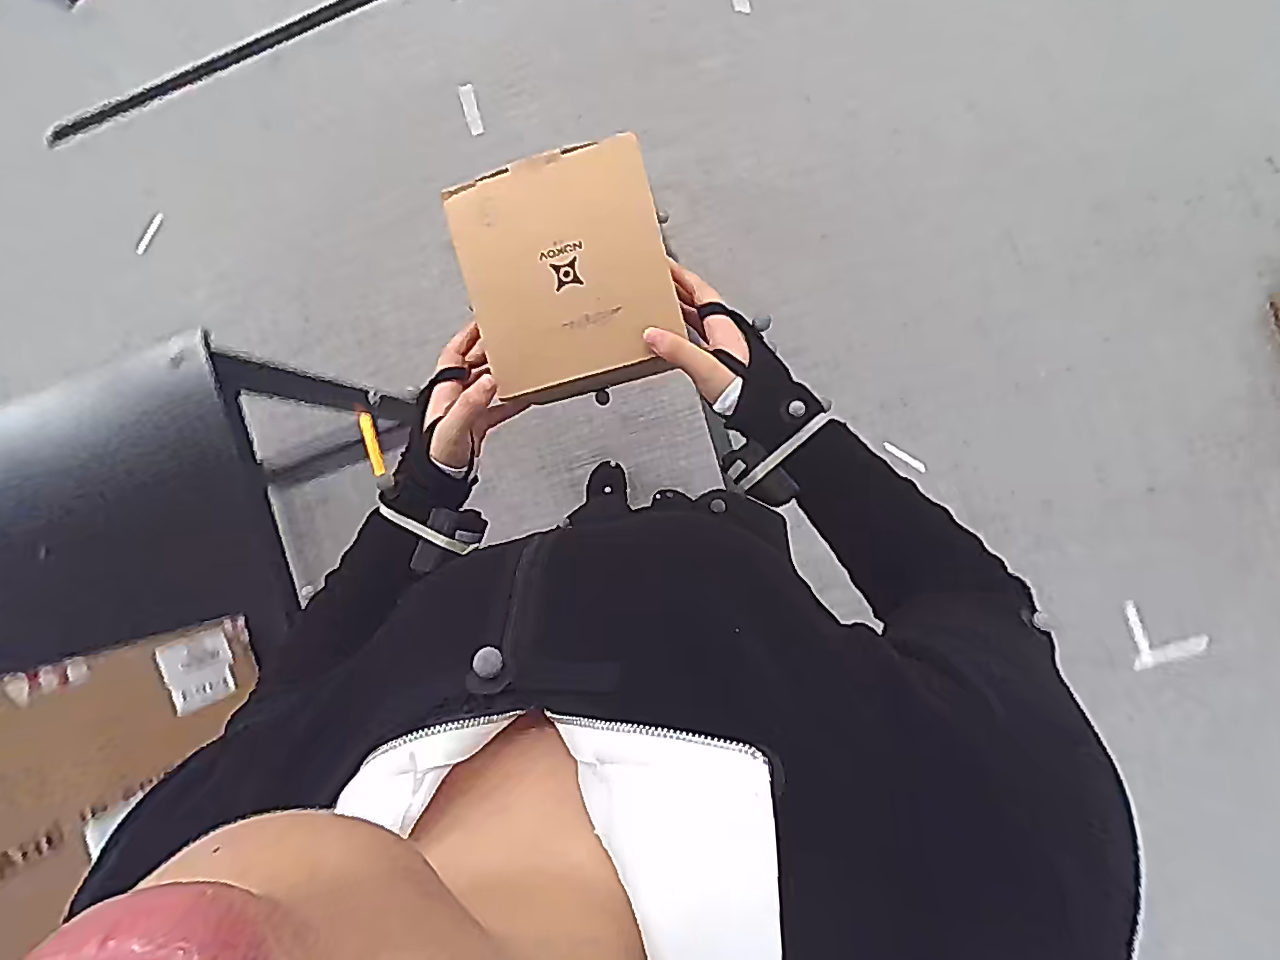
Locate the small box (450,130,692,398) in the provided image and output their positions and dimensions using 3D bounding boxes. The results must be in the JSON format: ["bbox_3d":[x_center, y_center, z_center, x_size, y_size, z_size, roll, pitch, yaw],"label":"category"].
[{"bbox_3d":[-0.052,-0.181,0.513,0.168,0.176,0.179,-13,96,5],"label":"small box"}]
